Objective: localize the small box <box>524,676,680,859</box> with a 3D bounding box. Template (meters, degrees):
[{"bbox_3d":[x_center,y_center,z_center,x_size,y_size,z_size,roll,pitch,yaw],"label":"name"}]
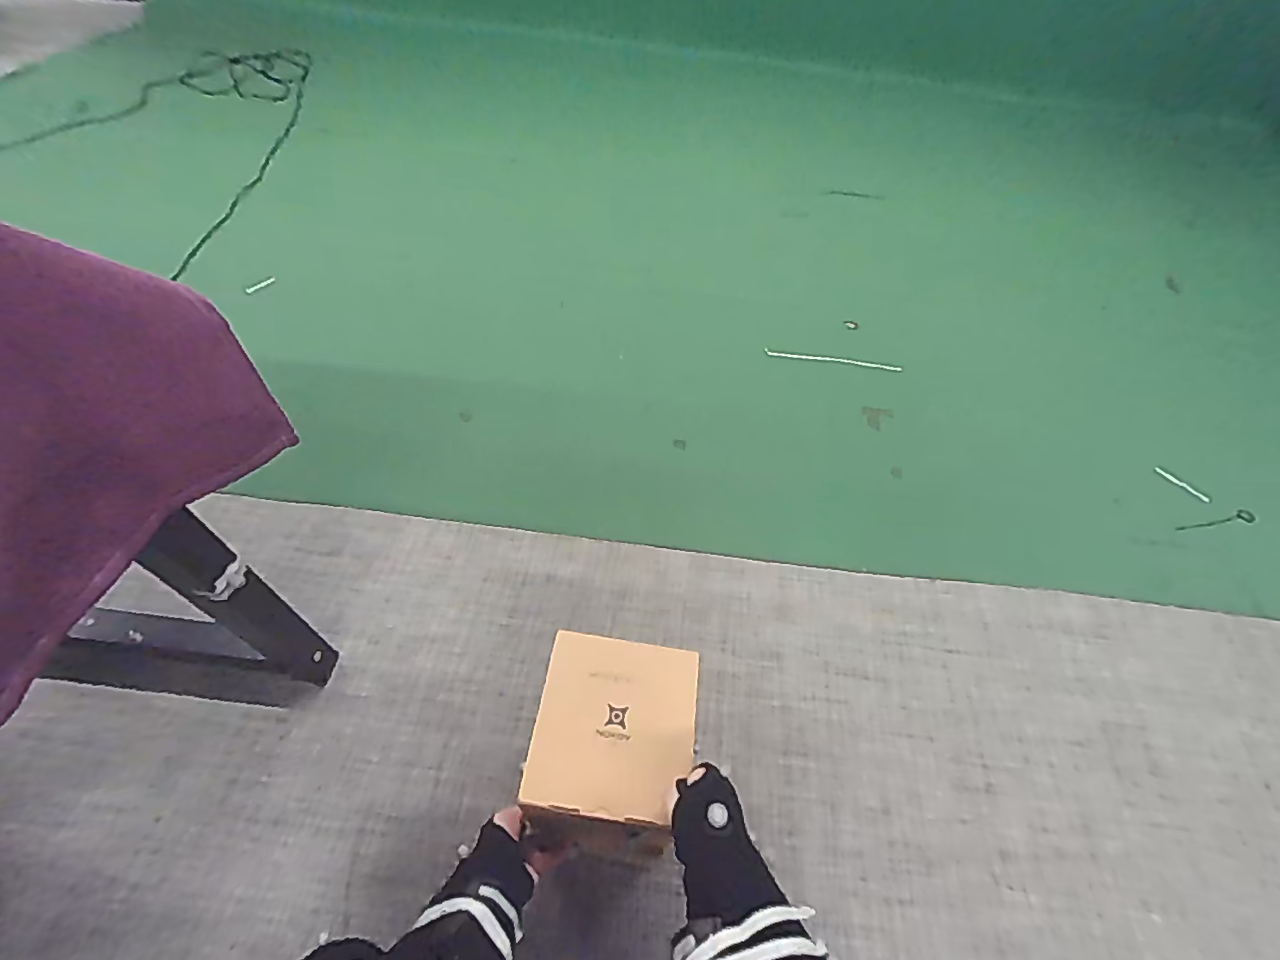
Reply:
[{"bbox_3d":[-0.048,0.402,0.749,0.168,0.176,0.179,12,50,3],"label":"small box"}]
